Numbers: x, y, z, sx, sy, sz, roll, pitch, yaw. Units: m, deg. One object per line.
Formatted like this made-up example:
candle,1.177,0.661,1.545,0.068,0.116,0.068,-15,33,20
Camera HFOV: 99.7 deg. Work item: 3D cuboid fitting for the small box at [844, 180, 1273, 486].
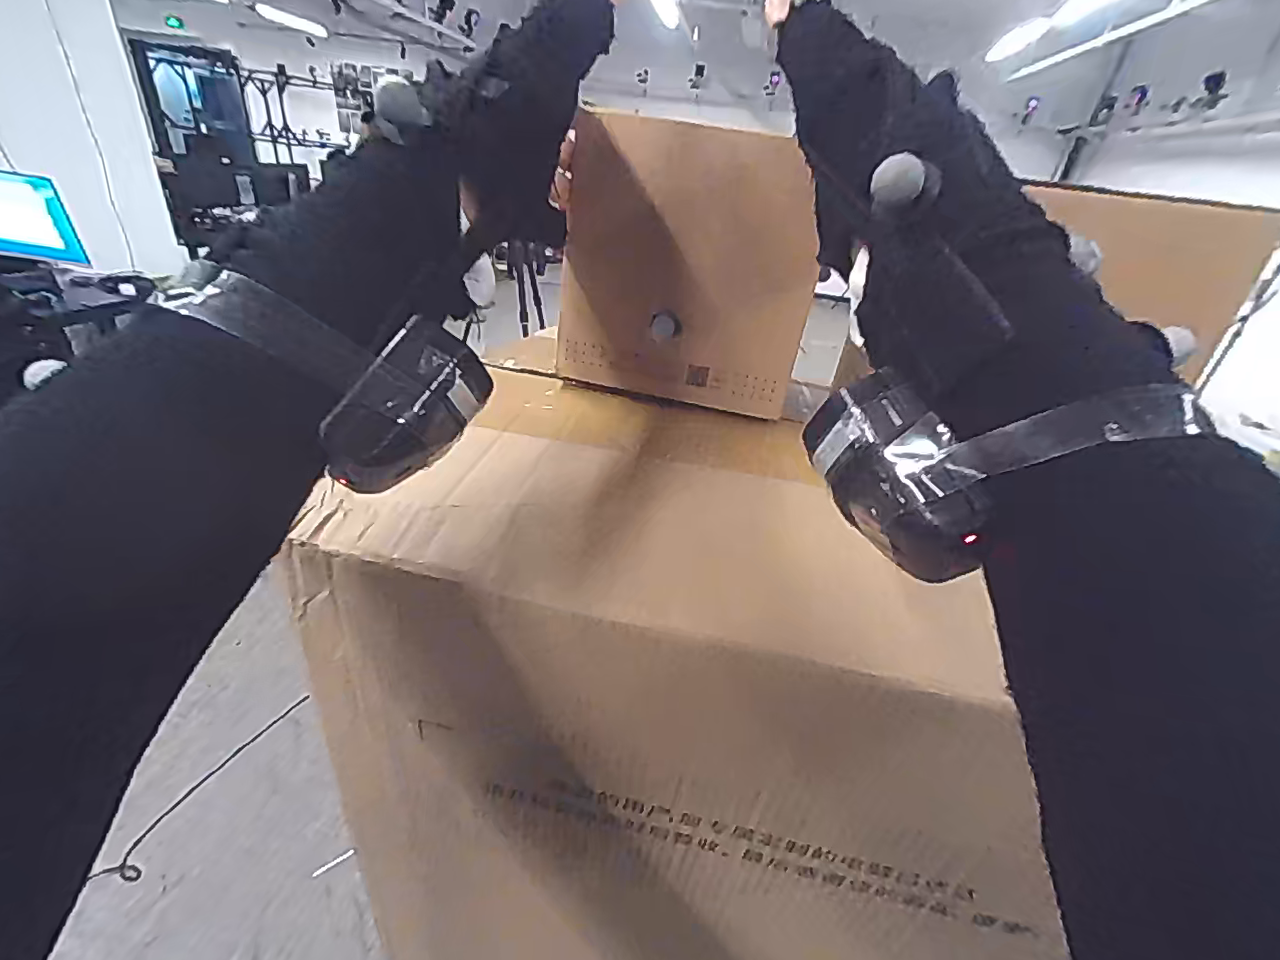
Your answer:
small box,0.267,-0.110,0.407,0.179,0.176,0.168,13,25,7
